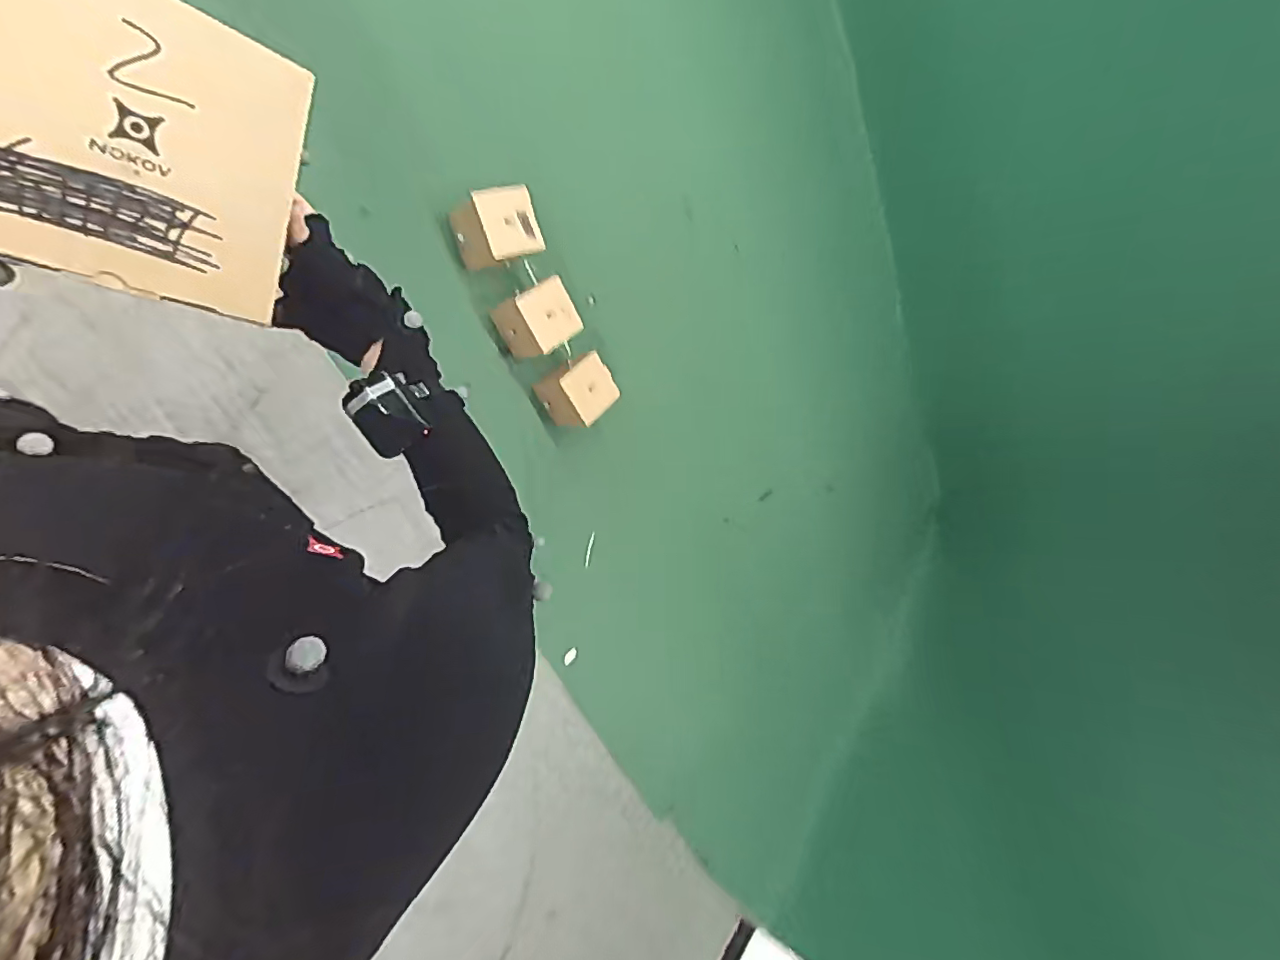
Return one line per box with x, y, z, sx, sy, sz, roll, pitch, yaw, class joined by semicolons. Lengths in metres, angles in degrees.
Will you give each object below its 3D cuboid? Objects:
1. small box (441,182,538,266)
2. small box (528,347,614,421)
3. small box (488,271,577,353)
-0.424;-0.717;1.519;0.179;0.176;0.168;-31;112;-36;small box
-0.223;-0.304;1.731;0.179;0.176;0.168;-49;122;-29;small box
-0.330;-0.498;1.617;0.179;0.176;0.168;-45;122;-31;small box
